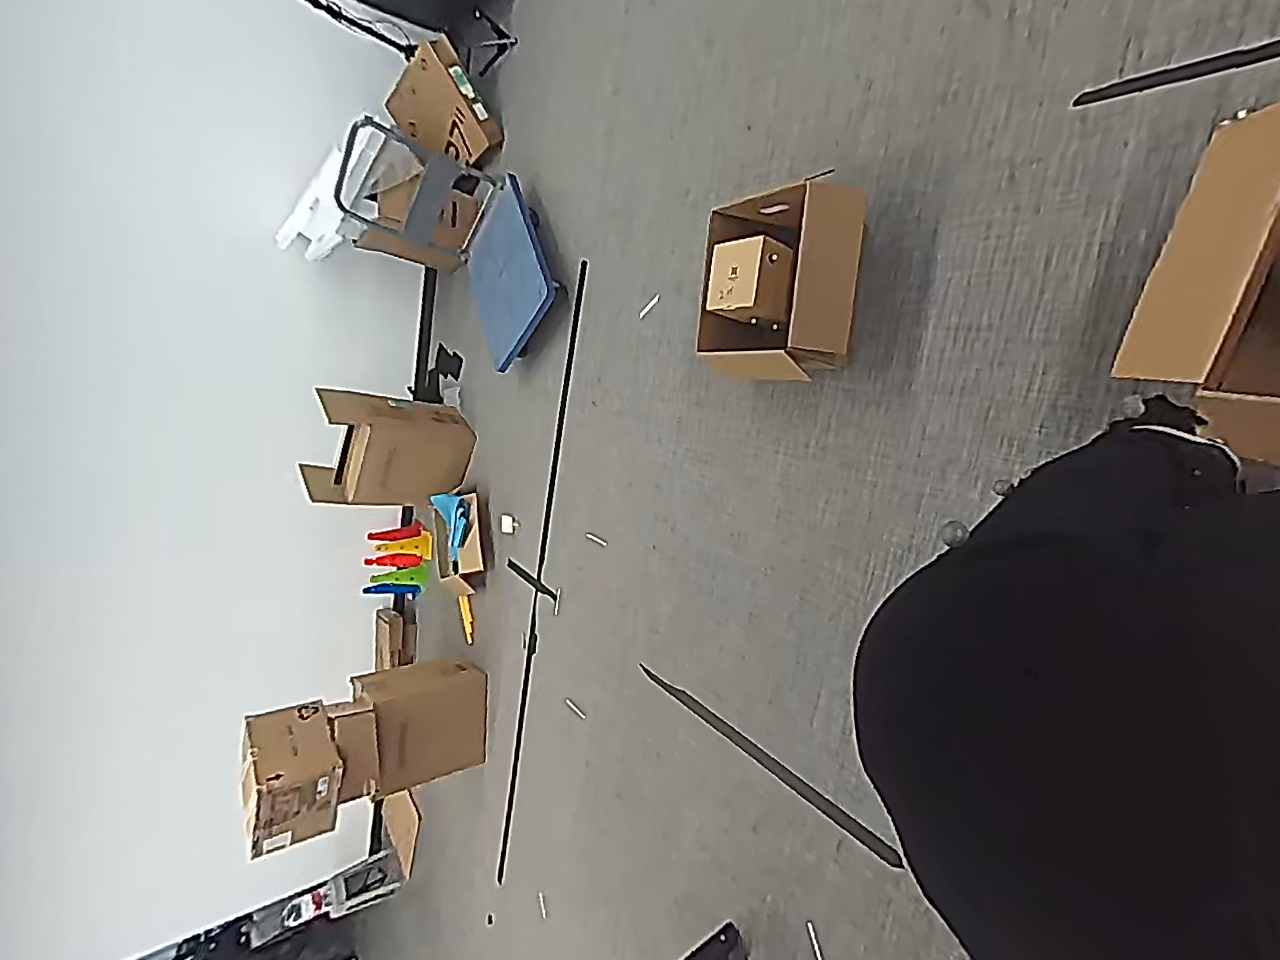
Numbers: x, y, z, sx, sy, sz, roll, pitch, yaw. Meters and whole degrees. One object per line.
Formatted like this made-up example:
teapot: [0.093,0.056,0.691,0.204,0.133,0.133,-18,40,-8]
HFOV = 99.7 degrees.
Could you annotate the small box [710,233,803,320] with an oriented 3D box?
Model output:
small box: [0.314,-0.536,1.447,0.168,0.176,0.179,15,101,49]
